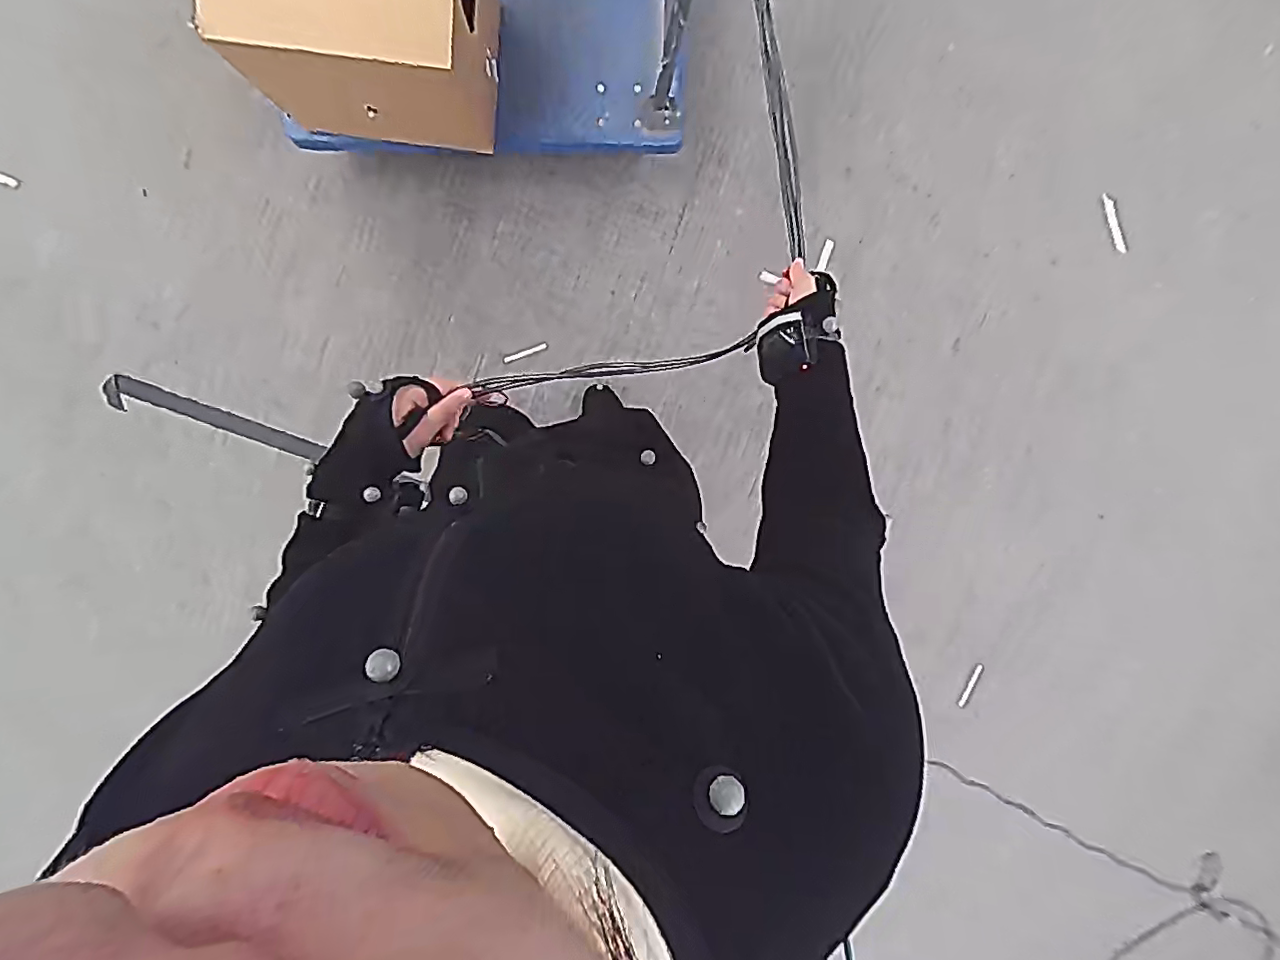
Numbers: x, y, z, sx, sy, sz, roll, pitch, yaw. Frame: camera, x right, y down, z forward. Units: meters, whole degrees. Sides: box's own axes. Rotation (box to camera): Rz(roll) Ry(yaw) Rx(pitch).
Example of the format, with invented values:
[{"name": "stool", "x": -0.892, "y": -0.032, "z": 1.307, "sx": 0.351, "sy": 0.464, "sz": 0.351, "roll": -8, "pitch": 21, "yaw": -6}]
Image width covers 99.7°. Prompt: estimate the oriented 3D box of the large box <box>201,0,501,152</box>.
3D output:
[{"name": "large box", "x": -0.490, "y": -0.848, "z": 0.997, "sx": 0.408, "sy": 0.320, "sz": 0.320, "roll": 5, "pitch": 97, "yaw": -3}]
